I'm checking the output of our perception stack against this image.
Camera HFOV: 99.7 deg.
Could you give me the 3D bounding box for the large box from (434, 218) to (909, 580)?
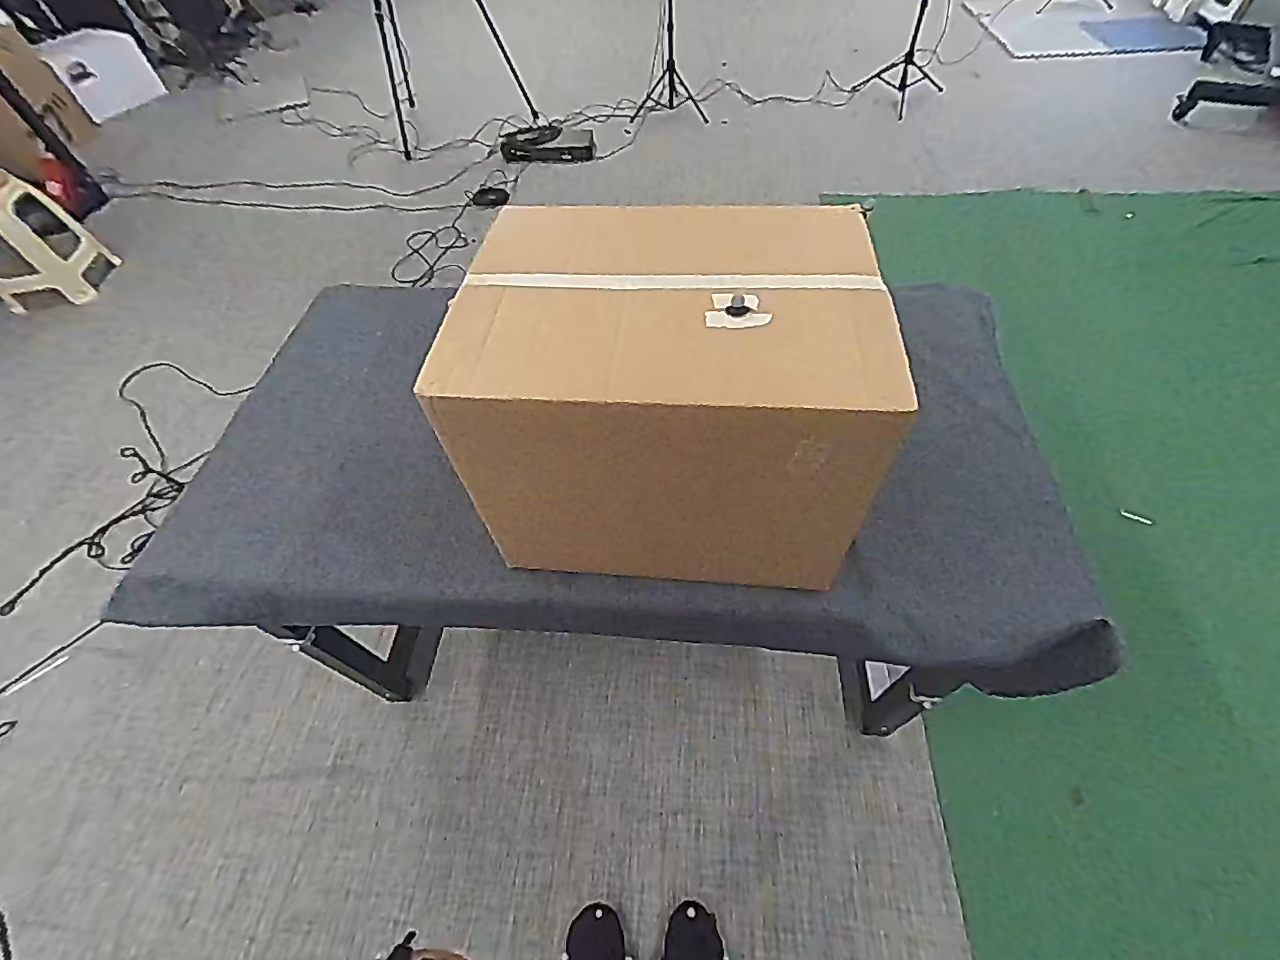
[{"bbox_3d":[0.036,-0.092,0.651,0.408,0.320,0.320,3,53,5],"label":"large box"}]
